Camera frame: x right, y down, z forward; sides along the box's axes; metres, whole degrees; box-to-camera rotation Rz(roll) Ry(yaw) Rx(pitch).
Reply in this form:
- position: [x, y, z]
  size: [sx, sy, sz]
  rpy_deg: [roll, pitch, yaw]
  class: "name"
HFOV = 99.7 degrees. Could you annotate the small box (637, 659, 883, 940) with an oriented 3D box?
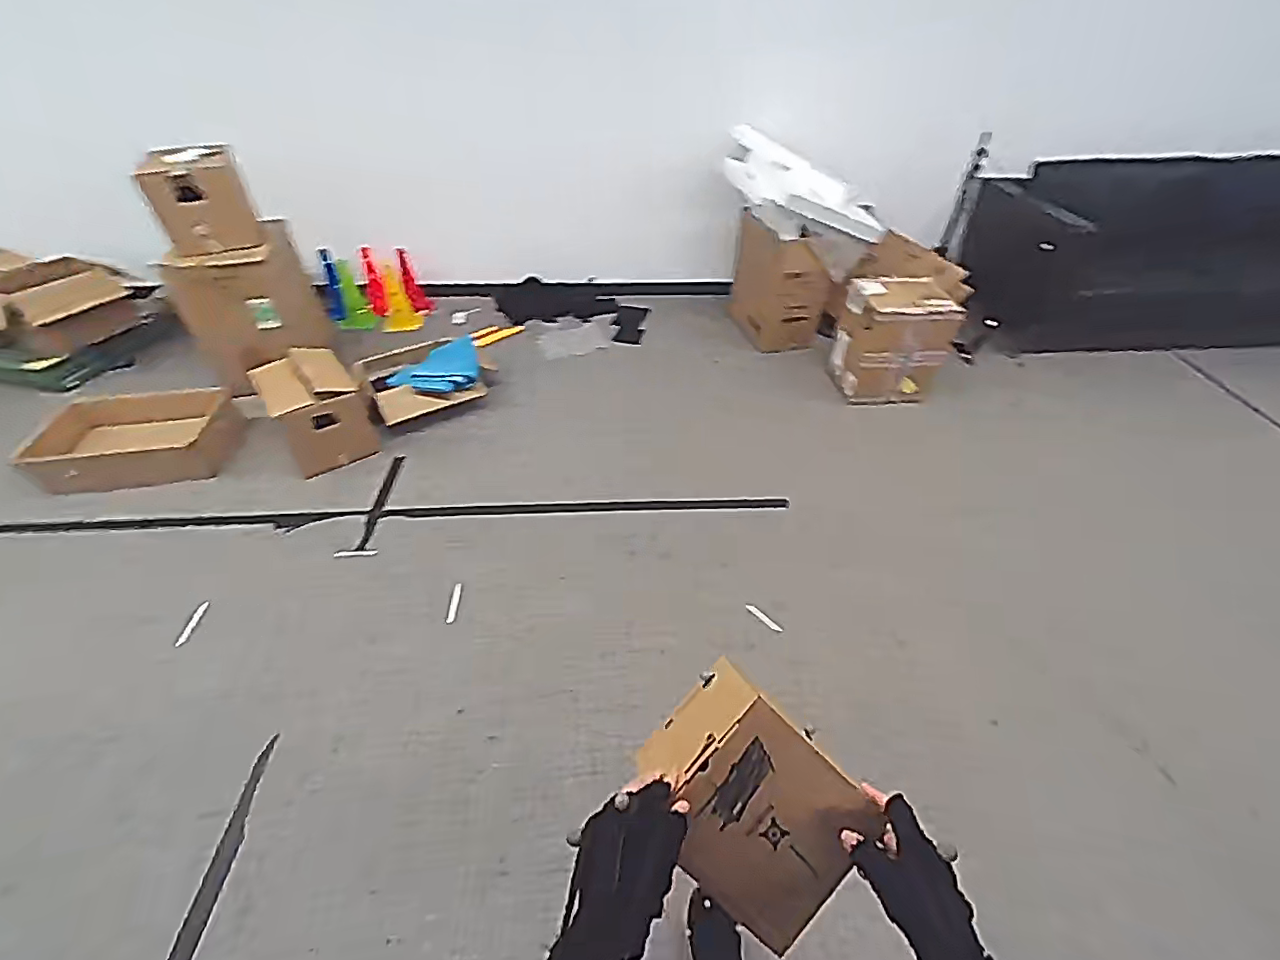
- position: [0.111, 0.318, 0.588]
  size: [0.179, 0.176, 0.168]
  rpy_deg: [41, 84, 1]
  class: "small box"
